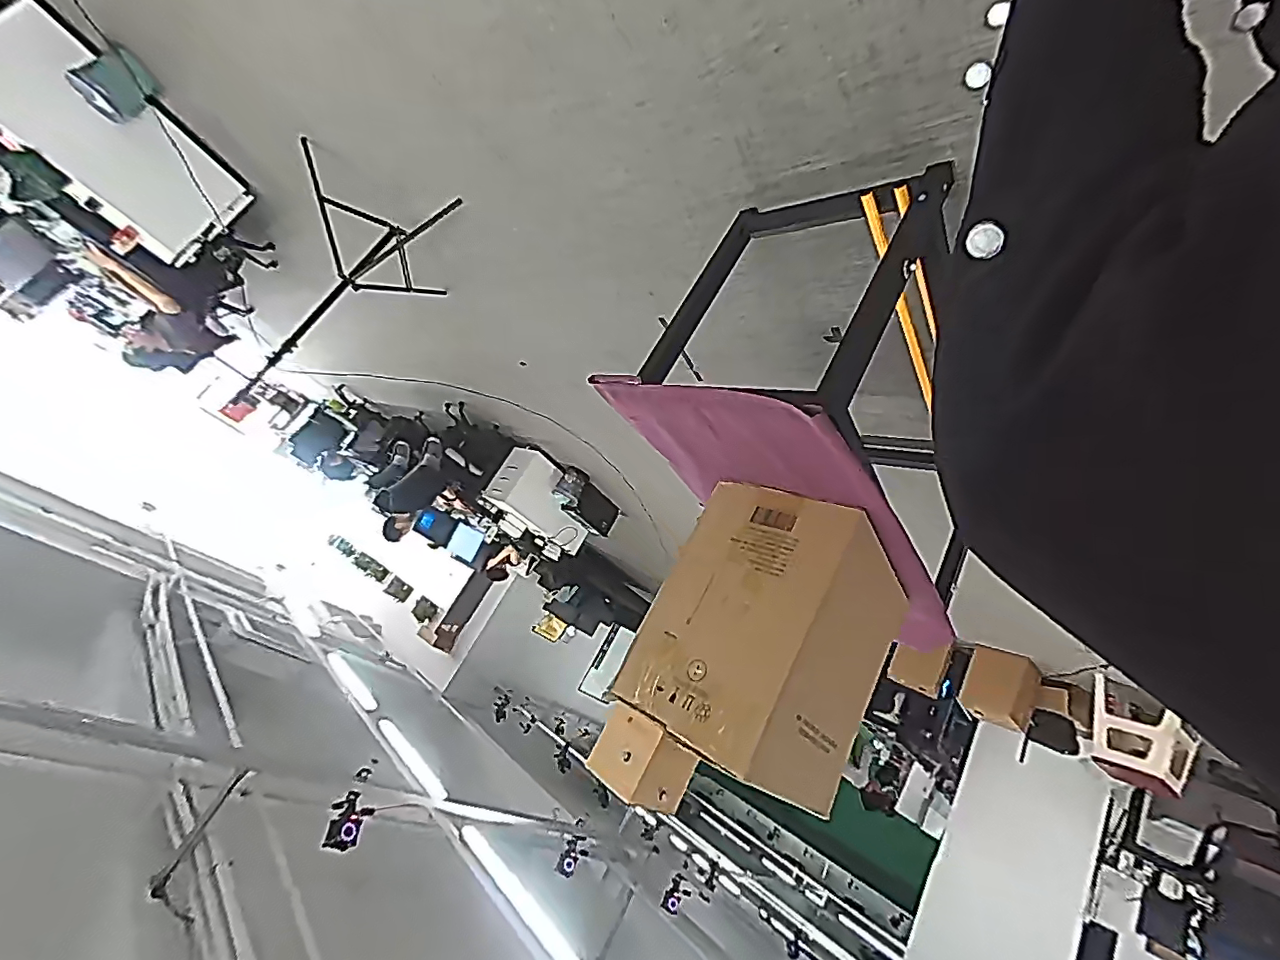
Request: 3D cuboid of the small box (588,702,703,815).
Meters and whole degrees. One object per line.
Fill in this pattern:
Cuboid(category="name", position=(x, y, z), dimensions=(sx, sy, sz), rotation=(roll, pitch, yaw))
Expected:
Cuboid(category="small box", position=(0.016, 0.651, 1.276), dimensions=(0.168, 0.176, 0.179), rotation=(10, 155, 48))
